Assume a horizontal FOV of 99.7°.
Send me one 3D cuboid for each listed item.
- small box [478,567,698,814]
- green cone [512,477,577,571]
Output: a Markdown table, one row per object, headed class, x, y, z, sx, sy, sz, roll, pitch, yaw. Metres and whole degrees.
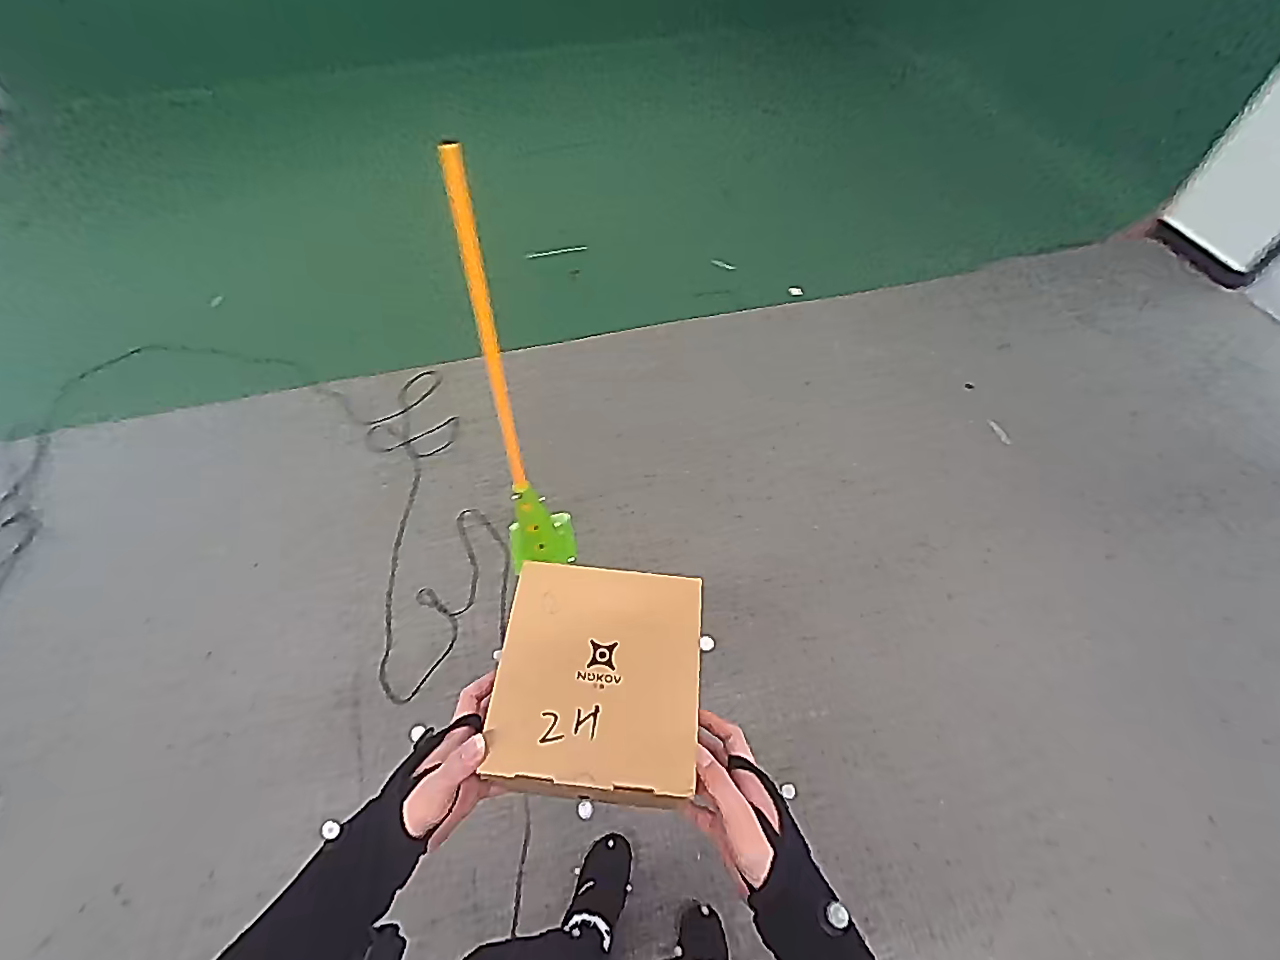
| class | x | y | z | sx | sy | sz | roll | pitch | yaw |
| --- | --- | --- | --- | --- | --- | --- | --- | --- | --- |
| small box | -0.039 | 0.205 | 0.517 | 0.168 | 0.176 | 0.179 | 5 | 55 | 1 |
| green cone | -0.323 | 0.101 | 1.647 | 0.202 | 0.368 | 0.200 | -12 | 56 | -5 |
